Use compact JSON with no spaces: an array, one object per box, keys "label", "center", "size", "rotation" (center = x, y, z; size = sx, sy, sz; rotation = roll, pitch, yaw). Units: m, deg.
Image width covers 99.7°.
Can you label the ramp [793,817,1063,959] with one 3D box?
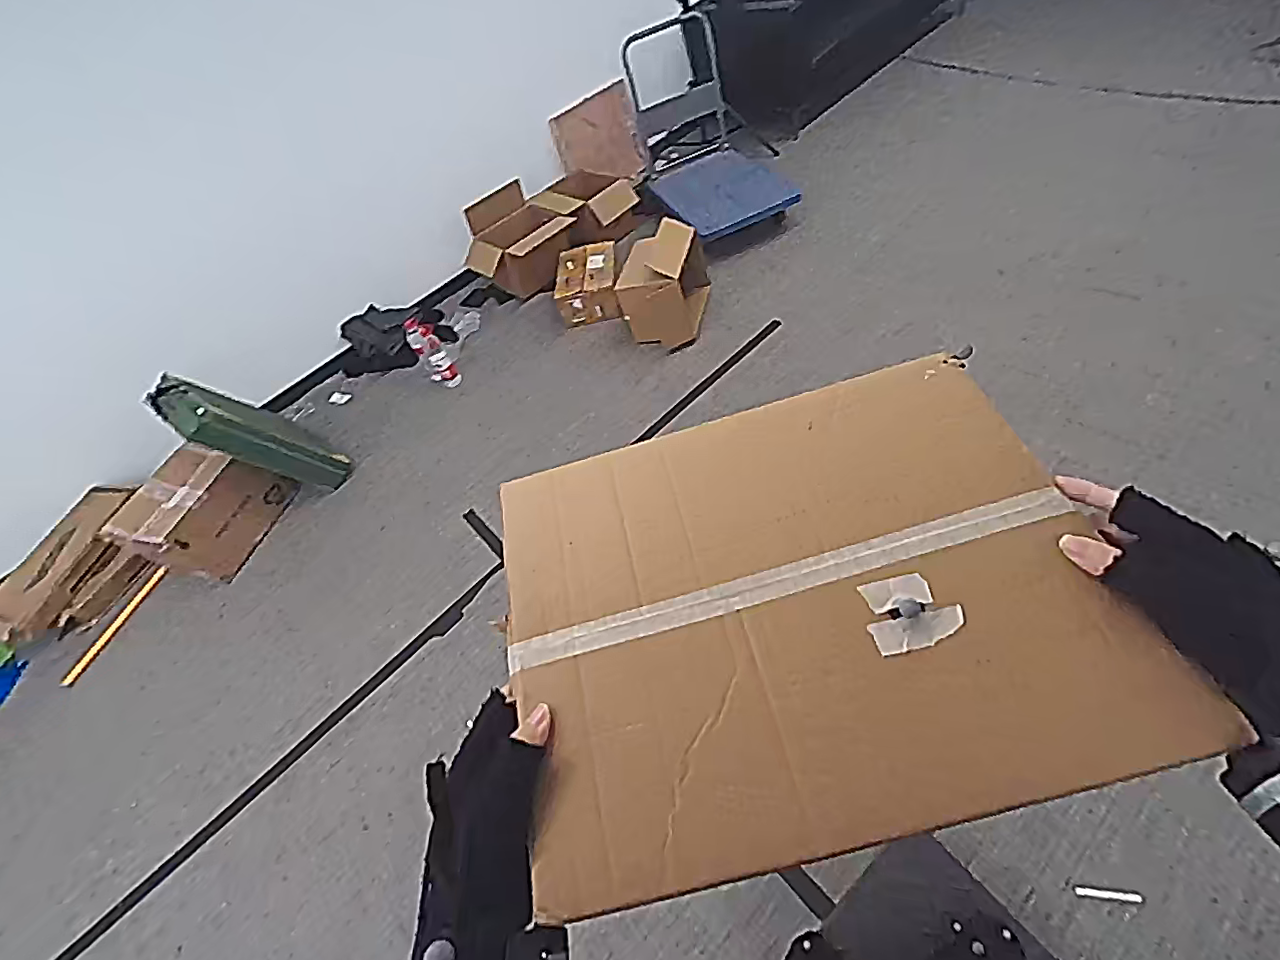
[{"label":"ramp","center":[0.729,1.152,0.871],"size":[0.509,0.206,0.991],"rotation":[-41,53,-17]}]

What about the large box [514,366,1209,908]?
[{"label":"large box","center":[0.134,0.156,0.522],"size":[0.408,0.320,0.320],"rotation":[-17,56,2]}]
